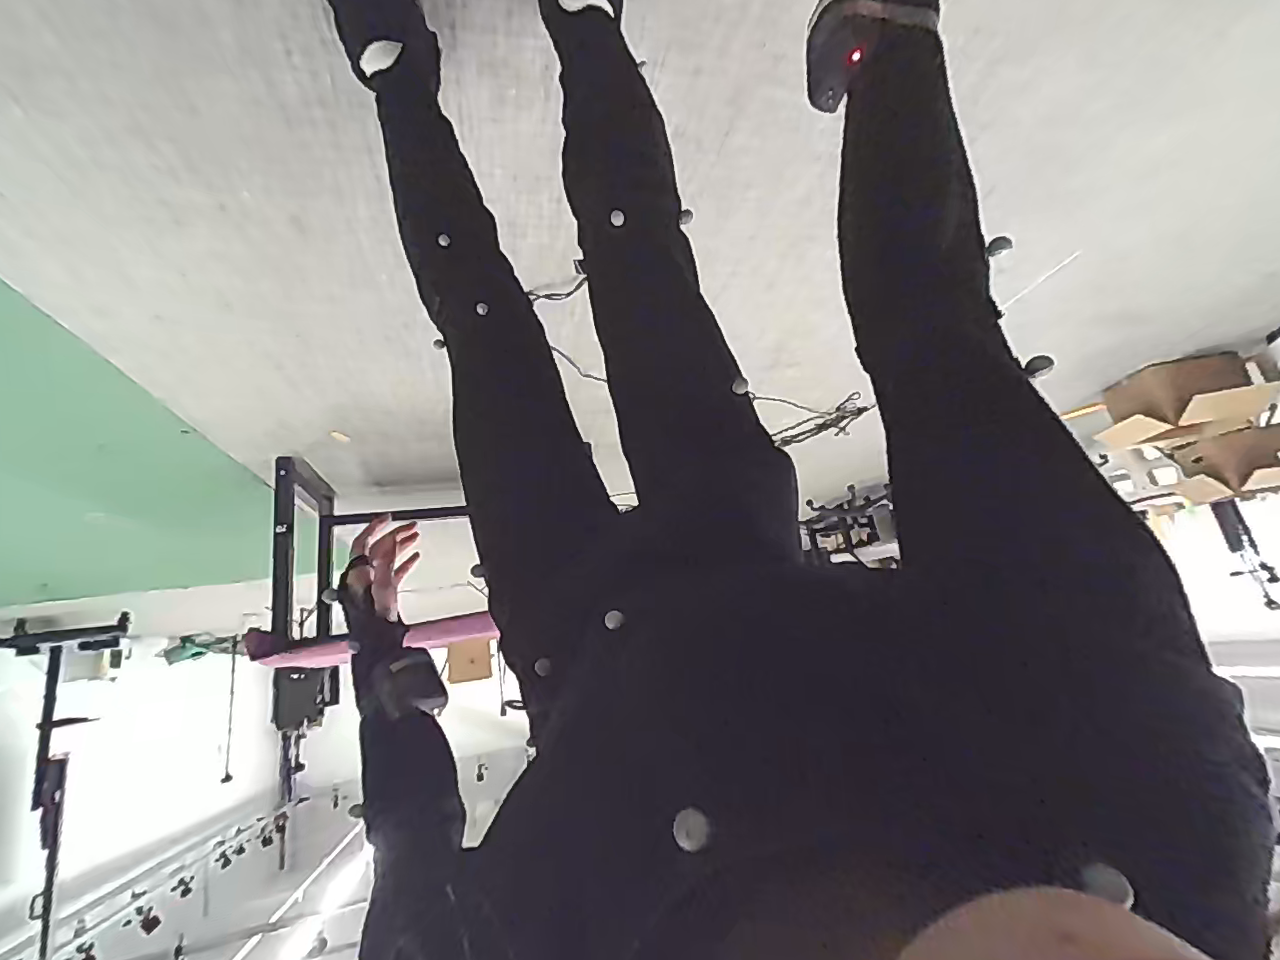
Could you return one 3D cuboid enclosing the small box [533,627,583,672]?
[{"bbox_3d":[-0.375,0.766,2.445,0.179,0.176,0.168,1,159,-28],"label":"small box"}]

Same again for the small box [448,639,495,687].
[{"bbox_3d":[-0.720,0.780,2.312,0.179,0.176,0.168,-5,161,-16],"label":"small box"}]
